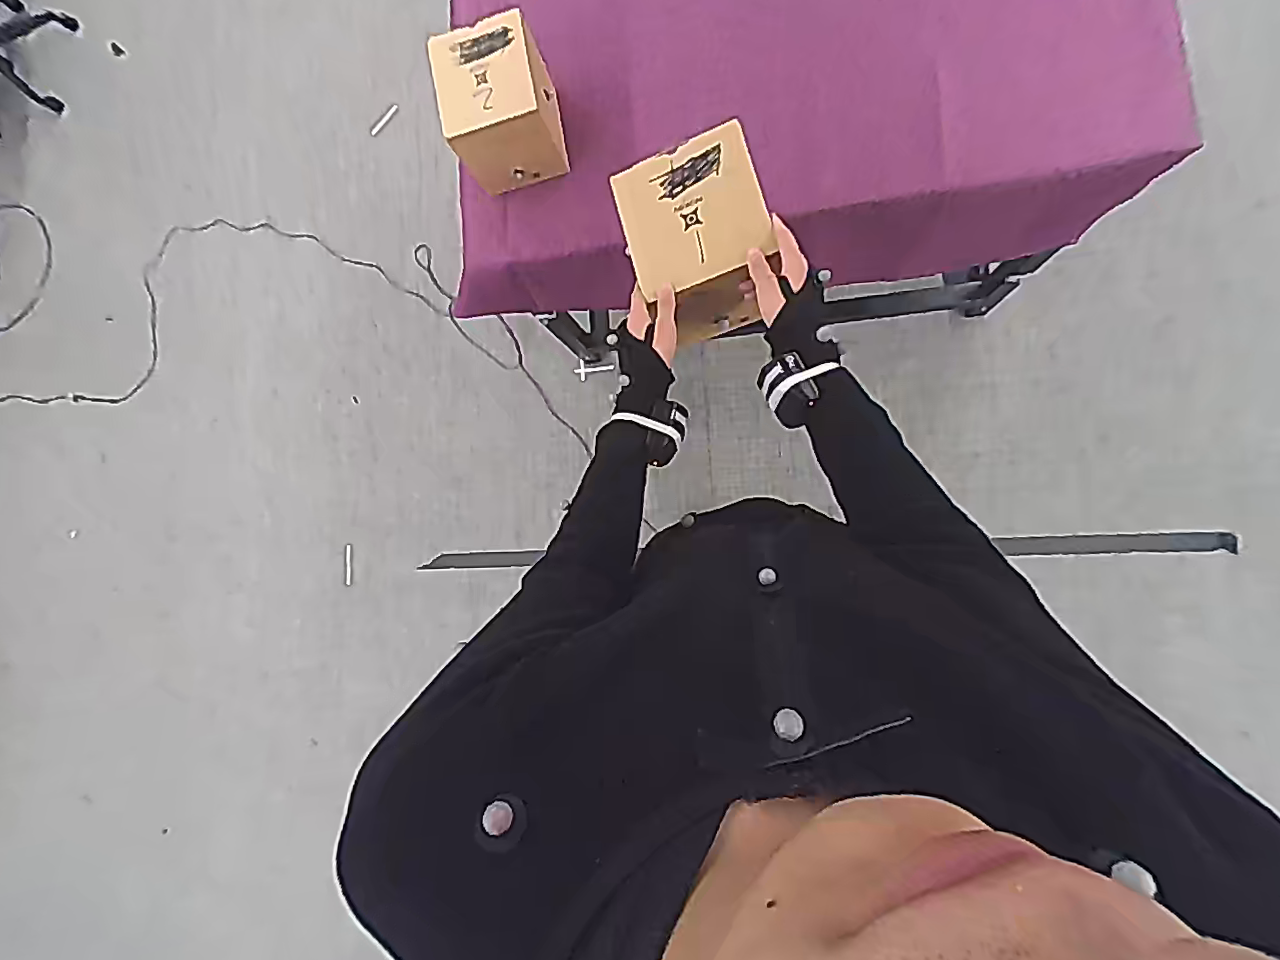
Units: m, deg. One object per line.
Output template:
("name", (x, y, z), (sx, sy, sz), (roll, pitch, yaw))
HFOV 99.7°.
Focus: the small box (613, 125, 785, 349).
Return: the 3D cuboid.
("small box", (0.084, -0.299, 0.703), (0.168, 0.176, 0.179), (-17, 80, 16))
